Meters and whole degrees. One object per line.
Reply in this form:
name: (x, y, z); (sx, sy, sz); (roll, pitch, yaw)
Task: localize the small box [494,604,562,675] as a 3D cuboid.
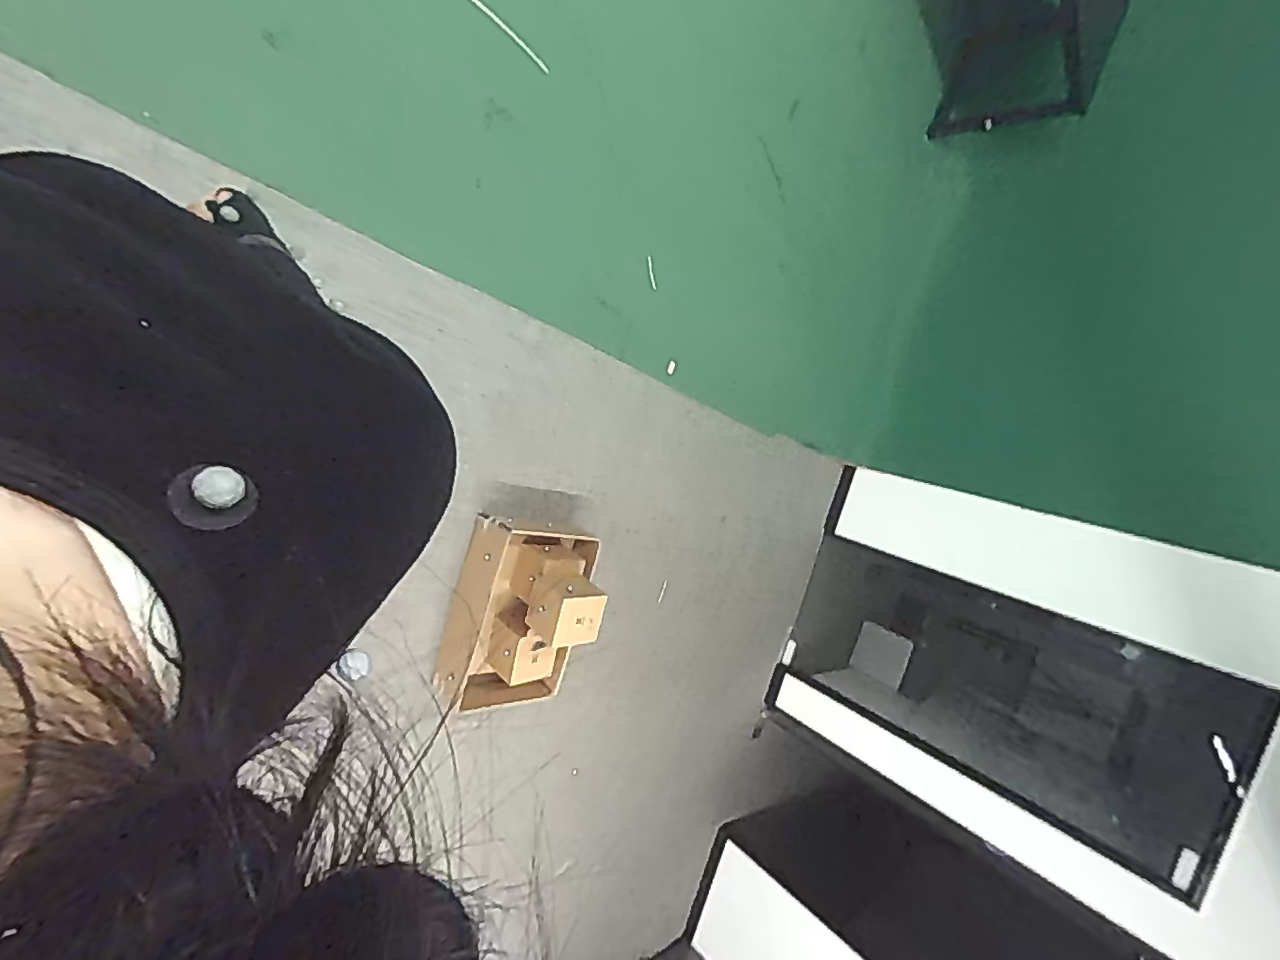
small box: (-0.386, 0.541, 1.873); (0.168, 0.176, 0.179); (4, 103, -44)

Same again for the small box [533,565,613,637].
small box: (-0.221, 0.383, 1.734); (0.179, 0.176, 0.168); (6, 104, -43)

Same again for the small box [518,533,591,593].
small box: (-0.299, 0.292, 1.856); (0.168, 0.176, 0.179); (9, 102, -43)
